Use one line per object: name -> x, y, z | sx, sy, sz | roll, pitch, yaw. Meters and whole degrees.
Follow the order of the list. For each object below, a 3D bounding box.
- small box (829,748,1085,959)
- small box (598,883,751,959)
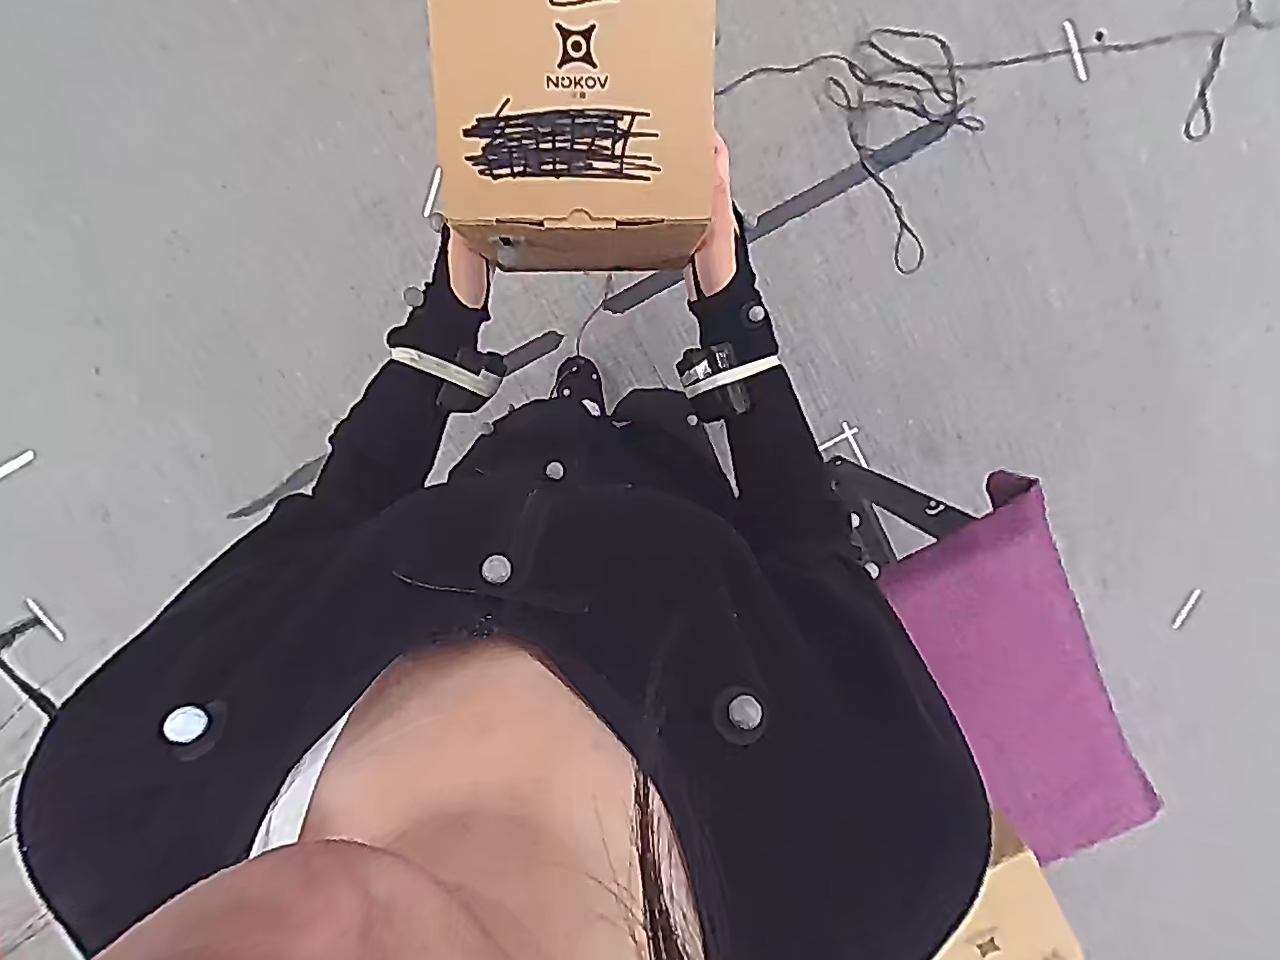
small box -> 0.350, 0.449, 0.631 | 0.168, 0.176, 0.179 | -29, 103, 4
small box -> 0.056, 0.654, 0.661 | 0.168, 0.176, 0.179 | -25, 102, 3
